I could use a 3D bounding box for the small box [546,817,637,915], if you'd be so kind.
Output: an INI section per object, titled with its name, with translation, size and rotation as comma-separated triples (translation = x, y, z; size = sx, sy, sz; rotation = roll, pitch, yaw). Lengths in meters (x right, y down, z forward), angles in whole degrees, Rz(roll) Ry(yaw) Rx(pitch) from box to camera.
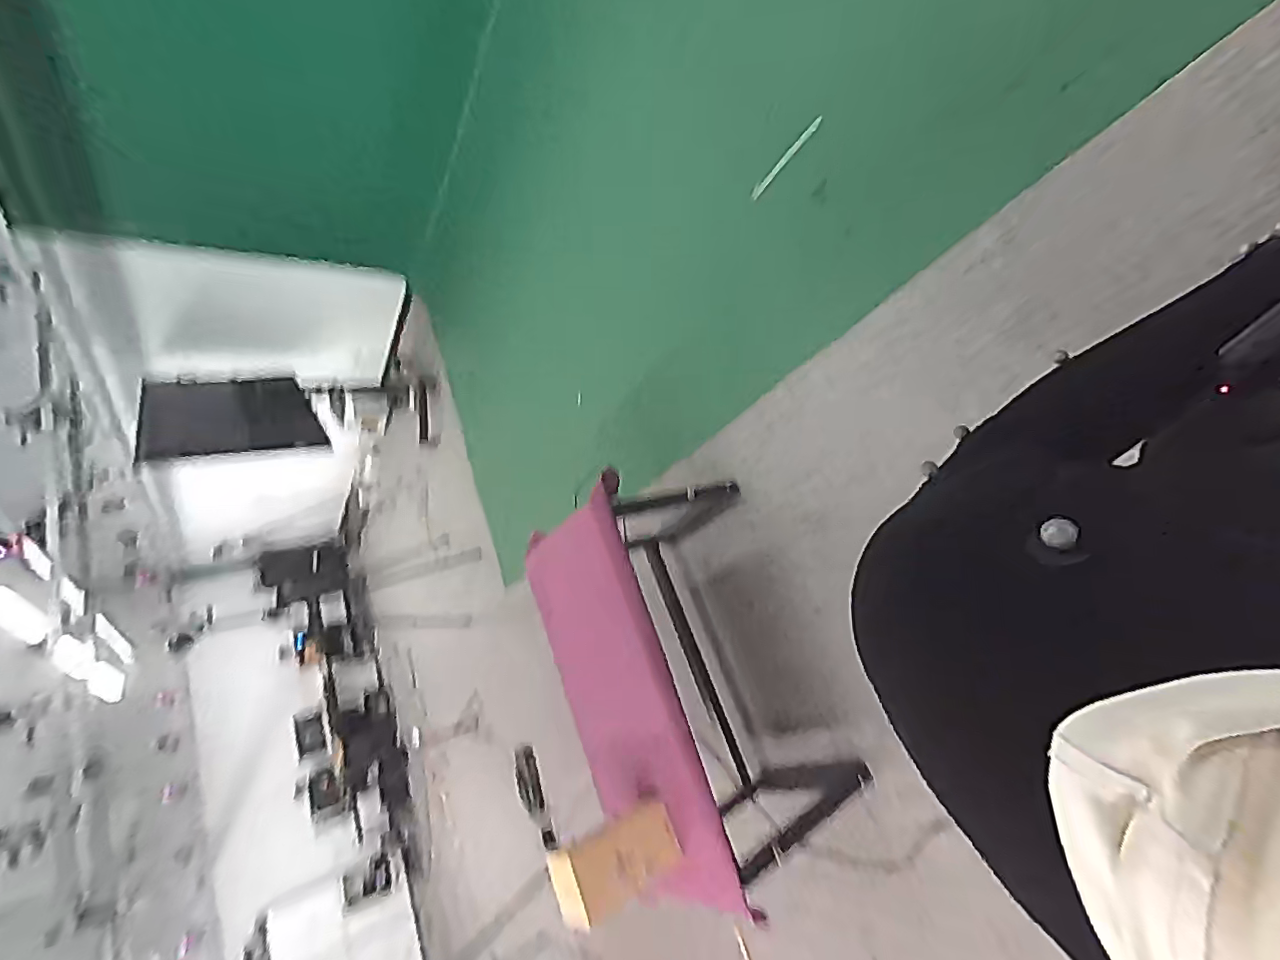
[small box]
translation = -0.137, 1.078, 1.526
size = 0.179, 0.176, 0.168
rotation = -43, 64, 47
